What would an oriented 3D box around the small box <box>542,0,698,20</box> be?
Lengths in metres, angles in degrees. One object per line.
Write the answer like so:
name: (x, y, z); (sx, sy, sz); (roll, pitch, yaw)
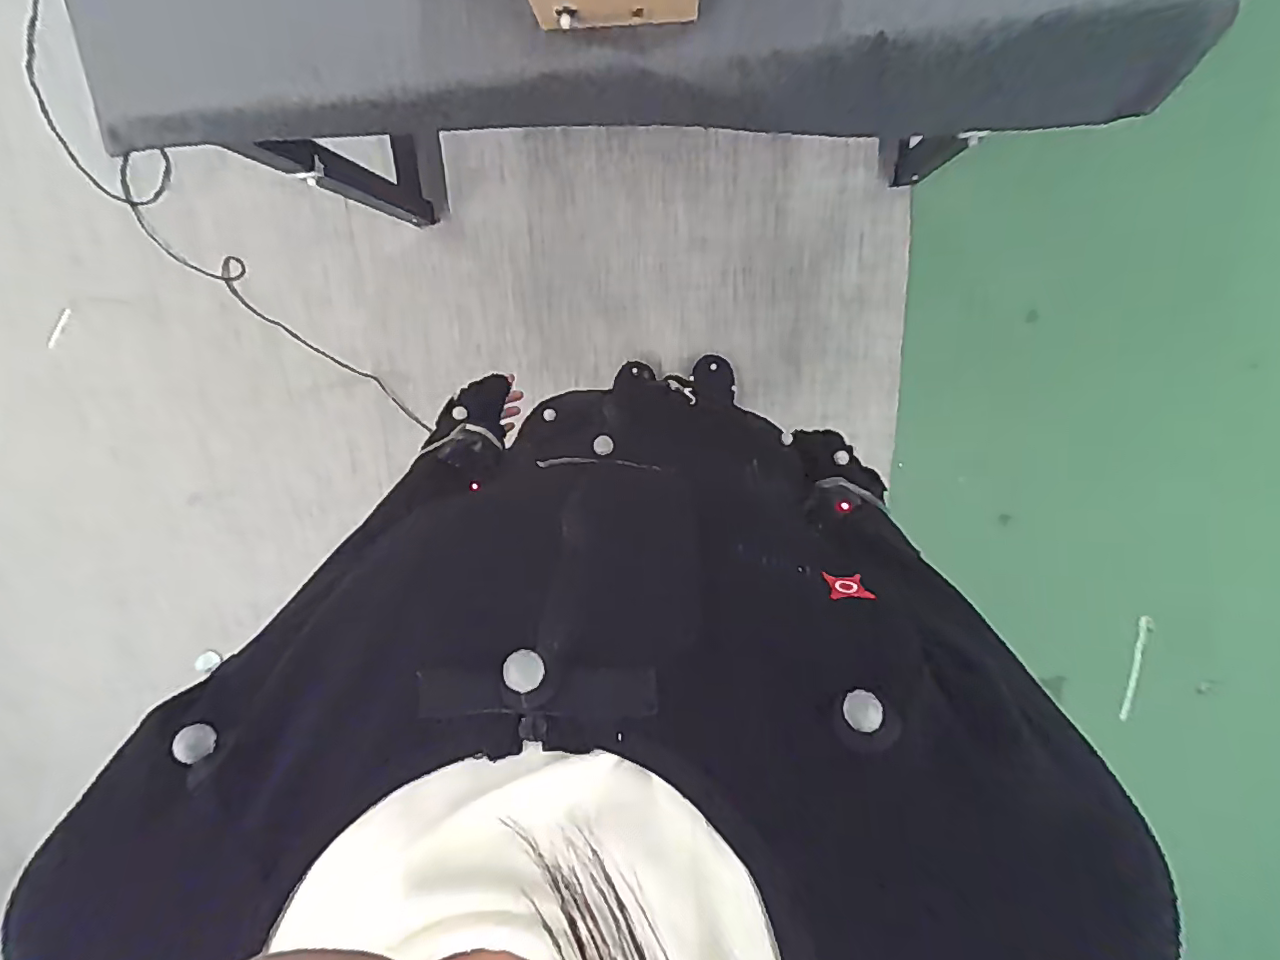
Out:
small box: (-0.026, -0.545, 0.475); (0.168, 0.176, 0.179); (2, 103, 4)
